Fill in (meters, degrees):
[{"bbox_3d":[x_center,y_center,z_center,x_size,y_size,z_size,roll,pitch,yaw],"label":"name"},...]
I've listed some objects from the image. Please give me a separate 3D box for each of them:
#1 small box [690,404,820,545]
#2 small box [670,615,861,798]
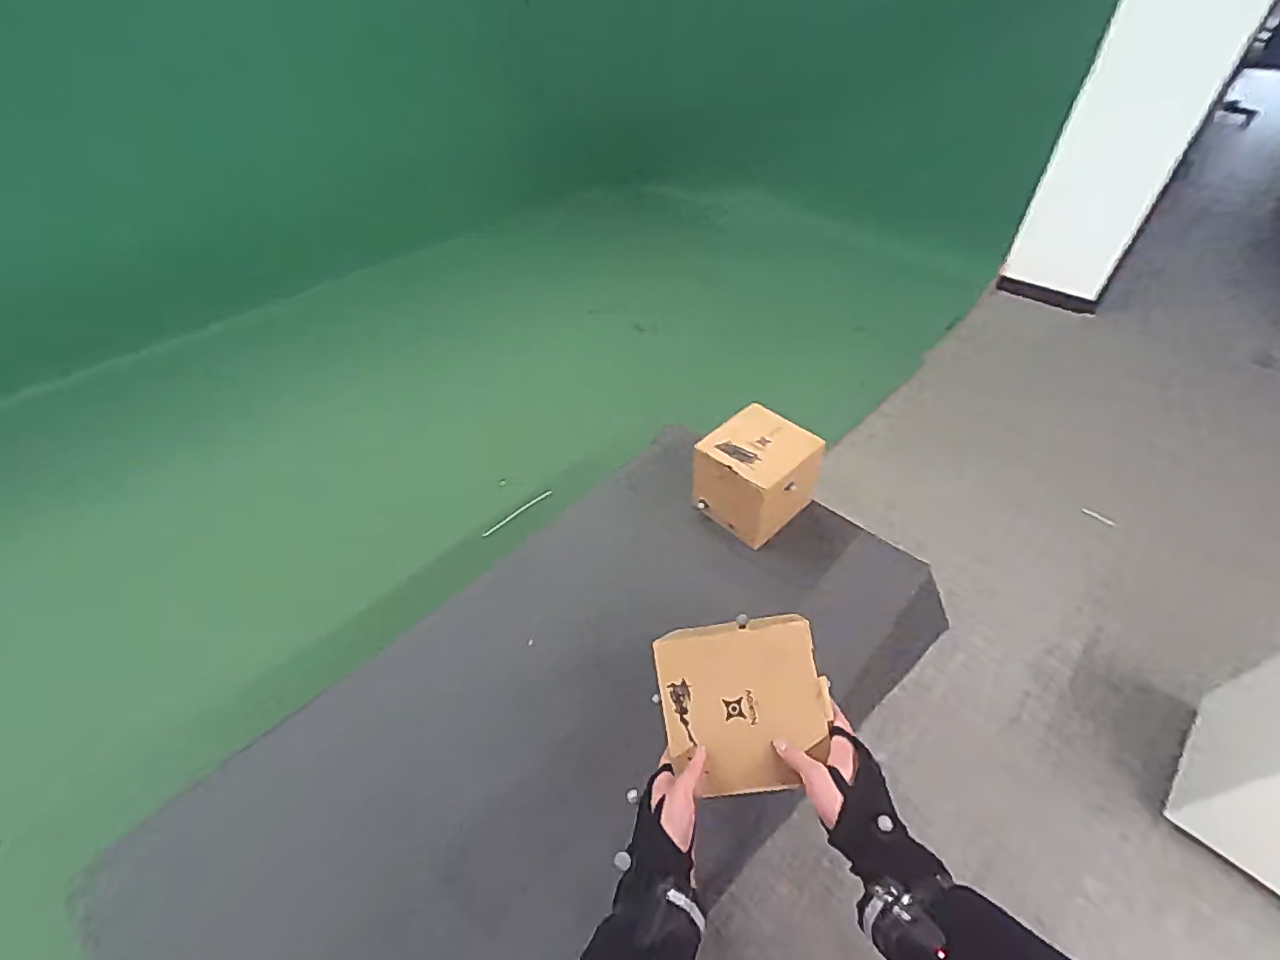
[{"bbox_3d":[0.210,-0.008,1.030,0.179,0.176,0.168,-34,55,-29],"label":"small box"},{"bbox_3d":[0.137,0.253,0.640,0.179,0.176,0.168,-9,75,6],"label":"small box"}]
